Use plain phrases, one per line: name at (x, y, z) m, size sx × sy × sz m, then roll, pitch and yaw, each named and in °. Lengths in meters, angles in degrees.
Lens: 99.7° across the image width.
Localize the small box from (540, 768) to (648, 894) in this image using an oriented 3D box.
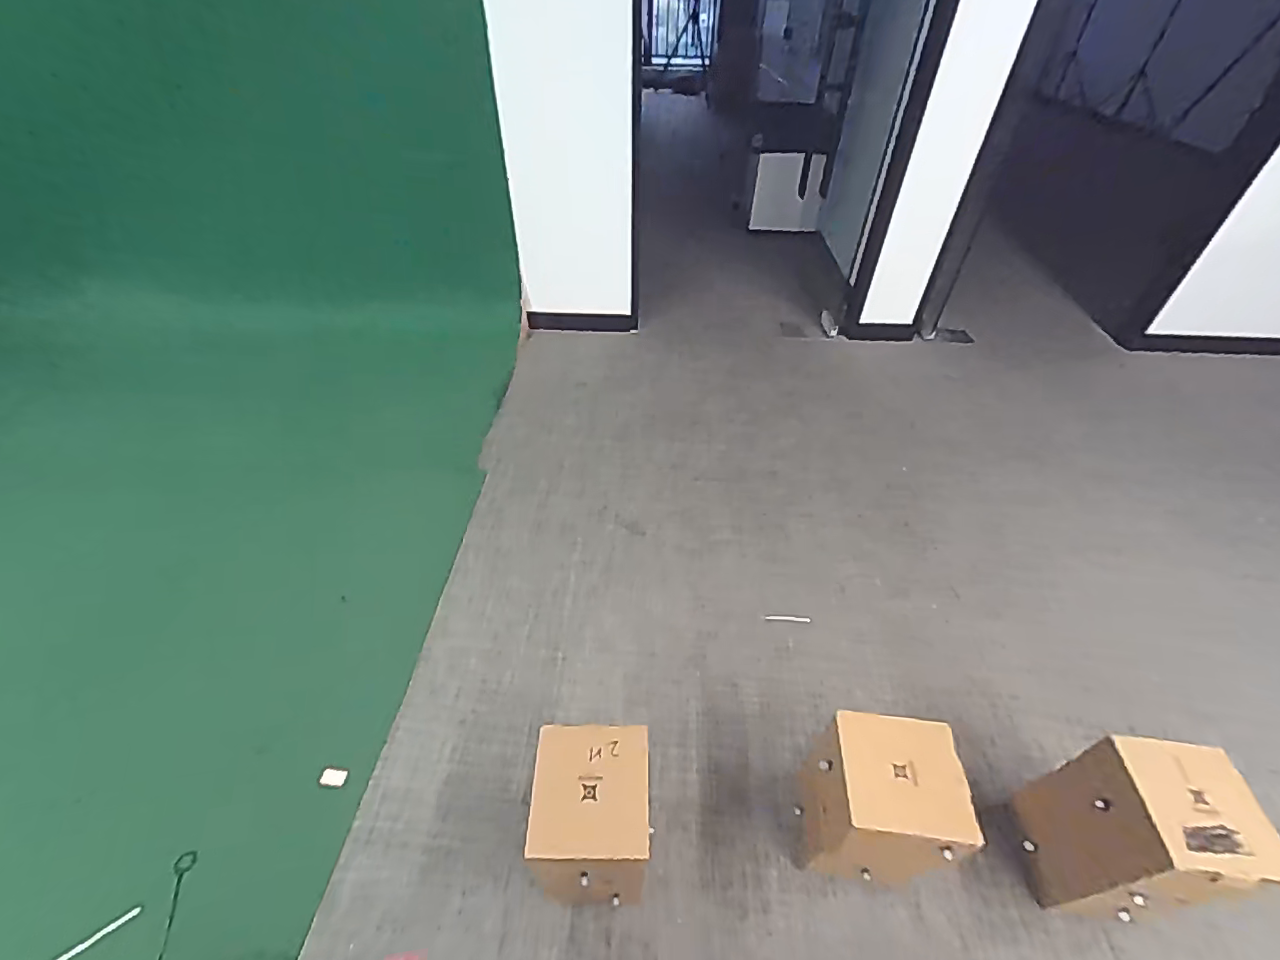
small box at (-0.071, 0.601, 0.944) m, size 0.168 × 0.176 × 0.179 m, roll 2°, pitch 43°, yaw 1°

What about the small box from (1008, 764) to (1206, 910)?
small box at (0.785, 0.620, 0.935) m, size 0.168 × 0.176 × 0.179 m, roll 5°, pitch 45°, yaw 3°

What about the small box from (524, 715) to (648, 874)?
small box at (-0.072, 0.484, 0.828) m, size 0.168 × 0.176 × 0.179 m, roll 2°, pitch 44°, yaw -1°

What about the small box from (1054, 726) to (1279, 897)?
small box at (0.785, 0.503, 0.818) m, size 0.168 × 0.176 × 0.179 m, roll 5°, pitch 43°, yaw 5°

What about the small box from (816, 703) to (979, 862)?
small box at (0.382, 0.473, 0.846) m, size 0.179 × 0.176 × 0.168 m, roll 5°, pitch 44°, yaw 5°
